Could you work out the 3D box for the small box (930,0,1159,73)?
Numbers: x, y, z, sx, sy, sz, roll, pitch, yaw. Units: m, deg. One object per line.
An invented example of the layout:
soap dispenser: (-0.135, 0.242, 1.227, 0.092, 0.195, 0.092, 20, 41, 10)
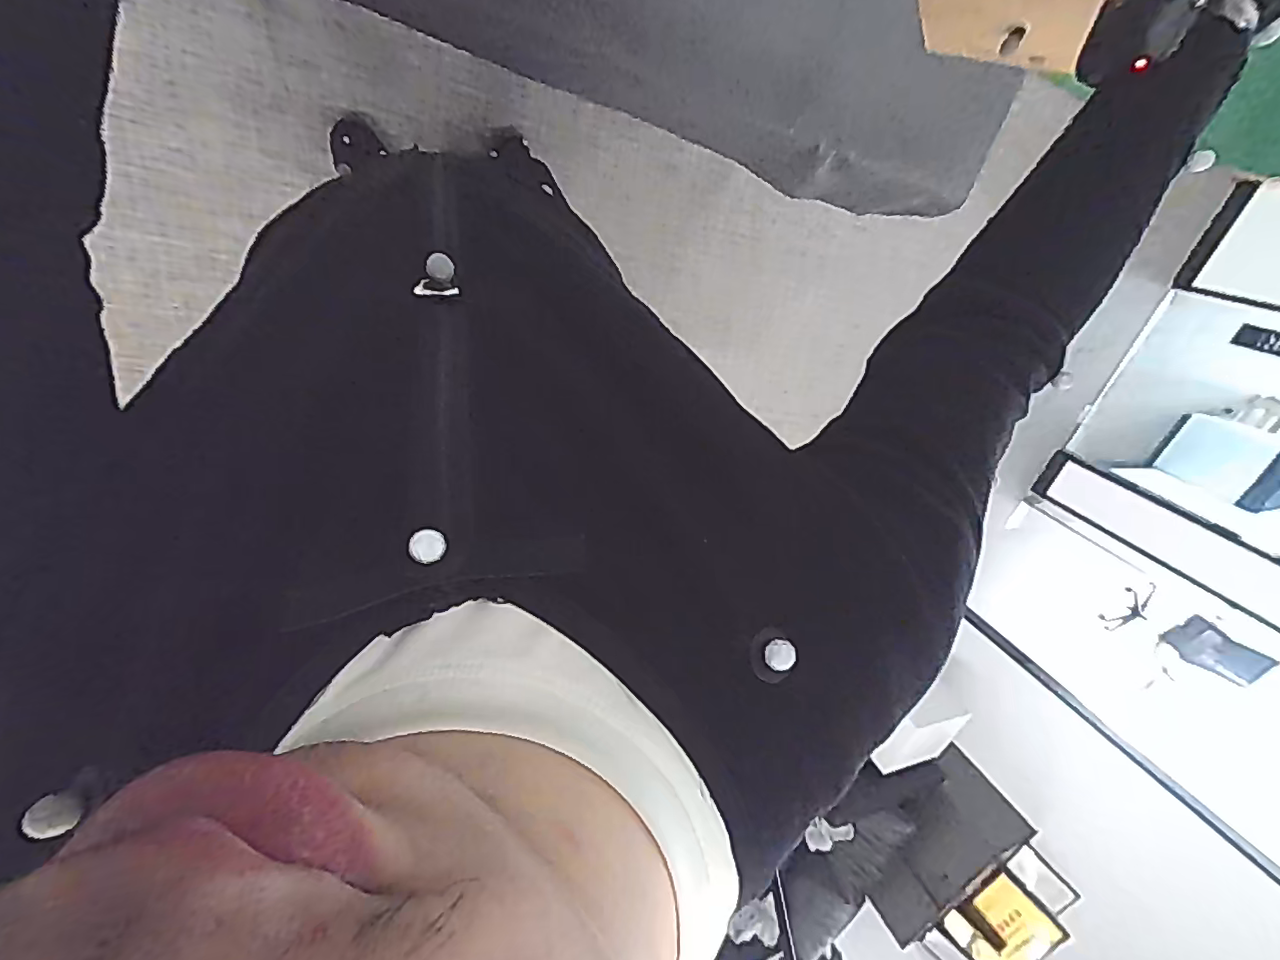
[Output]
small box: (0.354, -0.459, 0.428, 0.176, 0.168, 0.179, -27, 140, -55)
